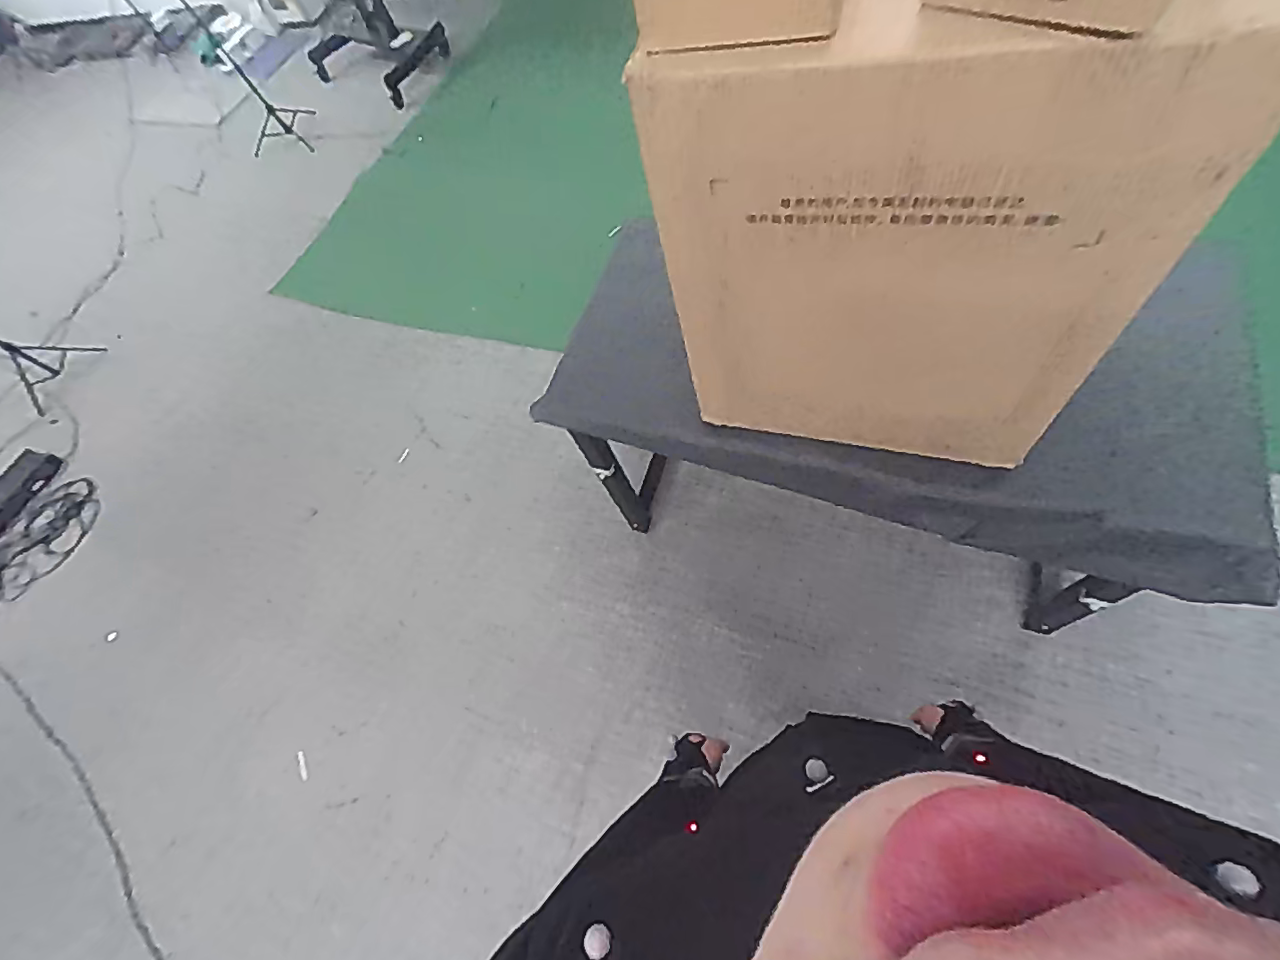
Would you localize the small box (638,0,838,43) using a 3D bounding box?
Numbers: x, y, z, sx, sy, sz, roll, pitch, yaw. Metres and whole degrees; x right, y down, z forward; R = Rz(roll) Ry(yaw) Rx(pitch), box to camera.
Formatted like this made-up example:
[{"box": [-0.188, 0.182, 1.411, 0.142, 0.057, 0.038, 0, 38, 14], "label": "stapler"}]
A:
[{"box": [0.086, -0.505, 0.451, 0.179, 0.176, 0.168, 11, 68, 21], "label": "small box"}]

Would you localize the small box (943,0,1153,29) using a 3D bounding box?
[{"box": [0.326, -0.457, 0.363, 0.168, 0.176, 0.179, 36, 78, 26], "label": "small box"}]
